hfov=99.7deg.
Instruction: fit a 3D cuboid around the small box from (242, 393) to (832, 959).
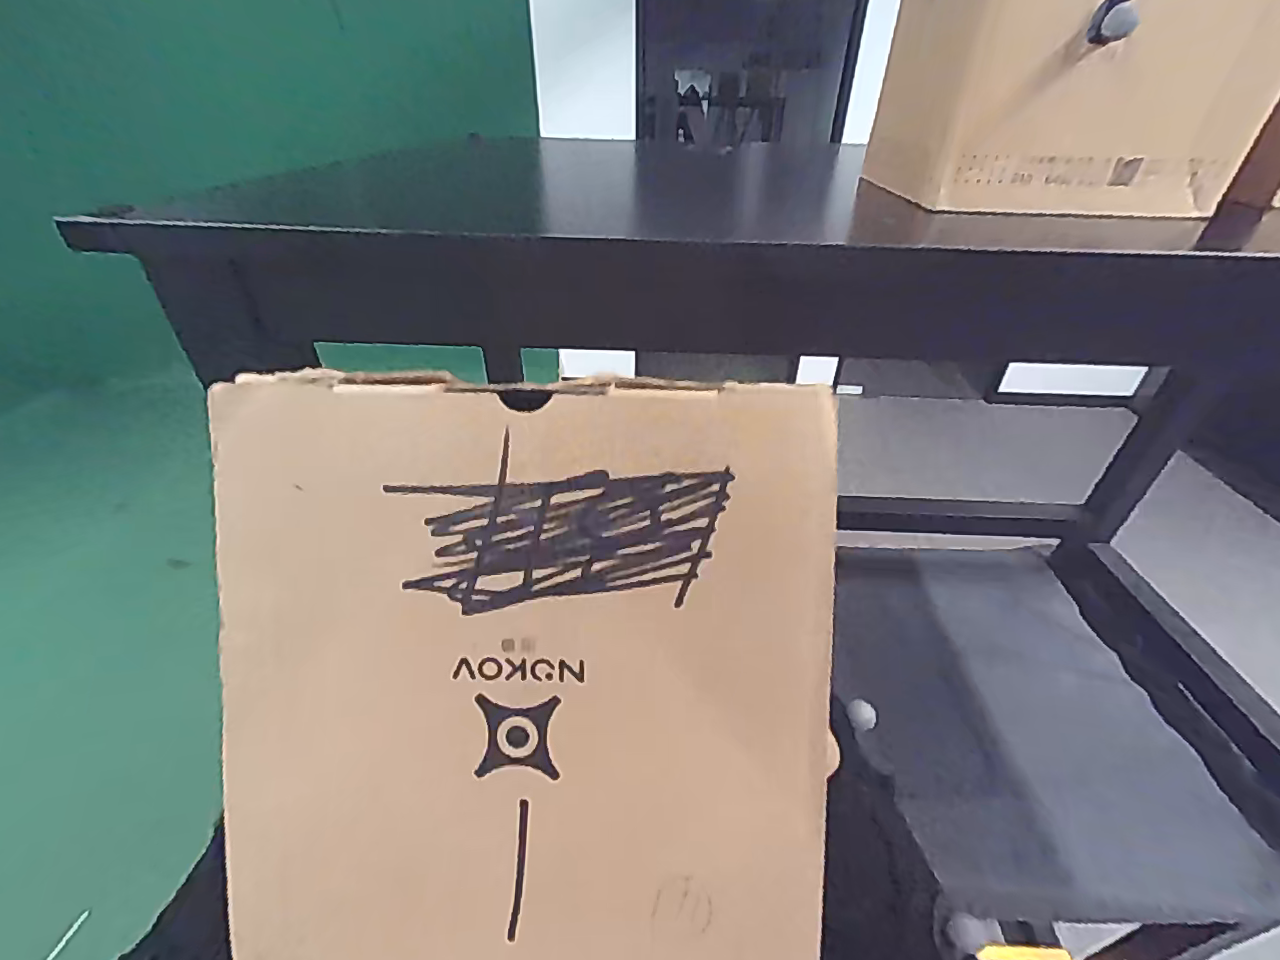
[{"bbox_3d":[-0.029,0.062,0.235,0.168,0.179,0.176,2,3,2],"label":"small box"}]
